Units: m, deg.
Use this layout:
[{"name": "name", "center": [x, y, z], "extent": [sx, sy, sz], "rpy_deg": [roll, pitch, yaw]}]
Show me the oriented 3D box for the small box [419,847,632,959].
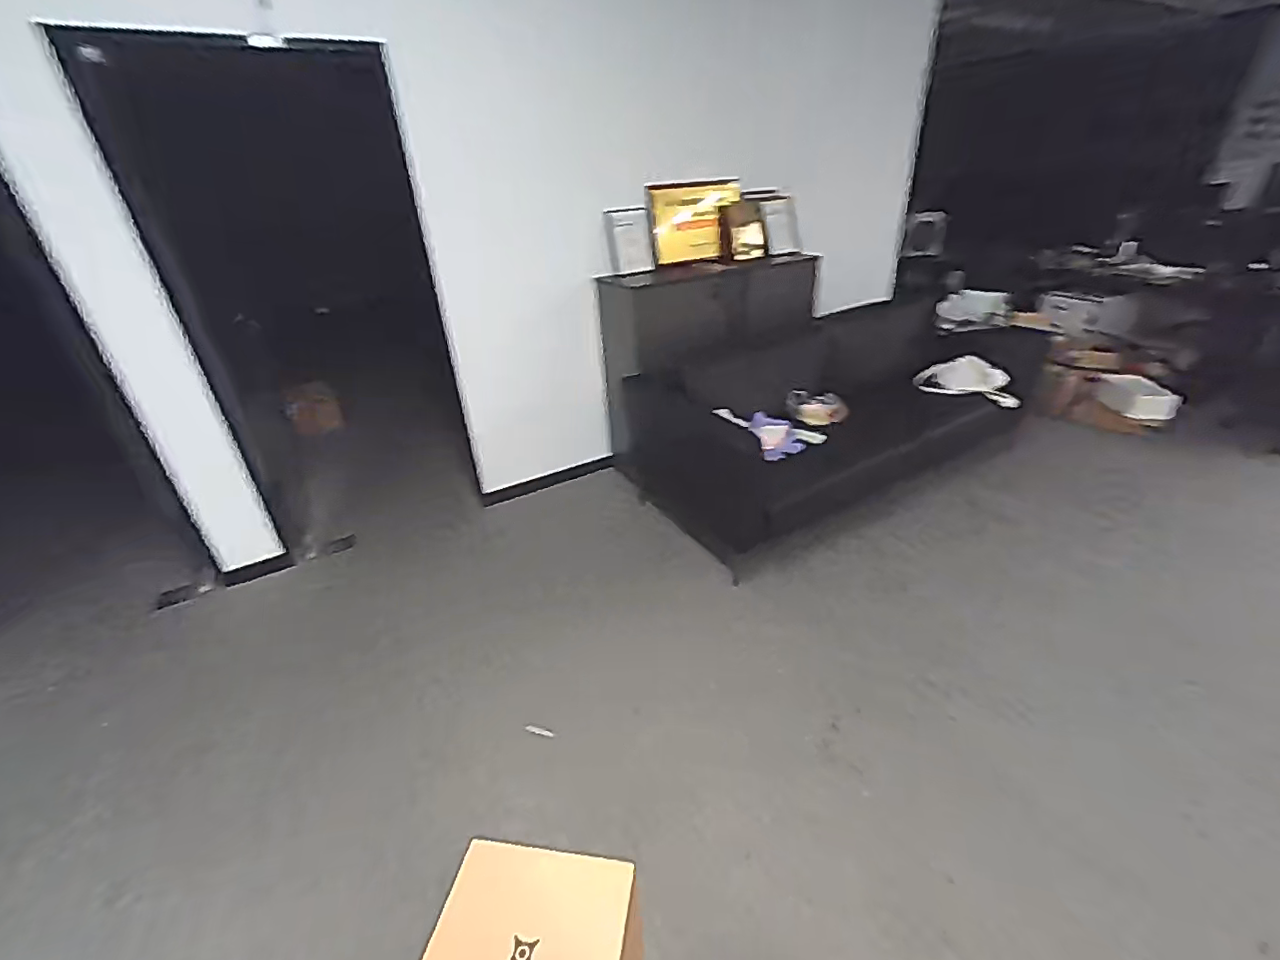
[{"name": "small box", "center": [-0.101, 0.472, 0.476], "extent": [0.168, 0.176, 0.179], "rpy_deg": [2, 28, 9]}]
